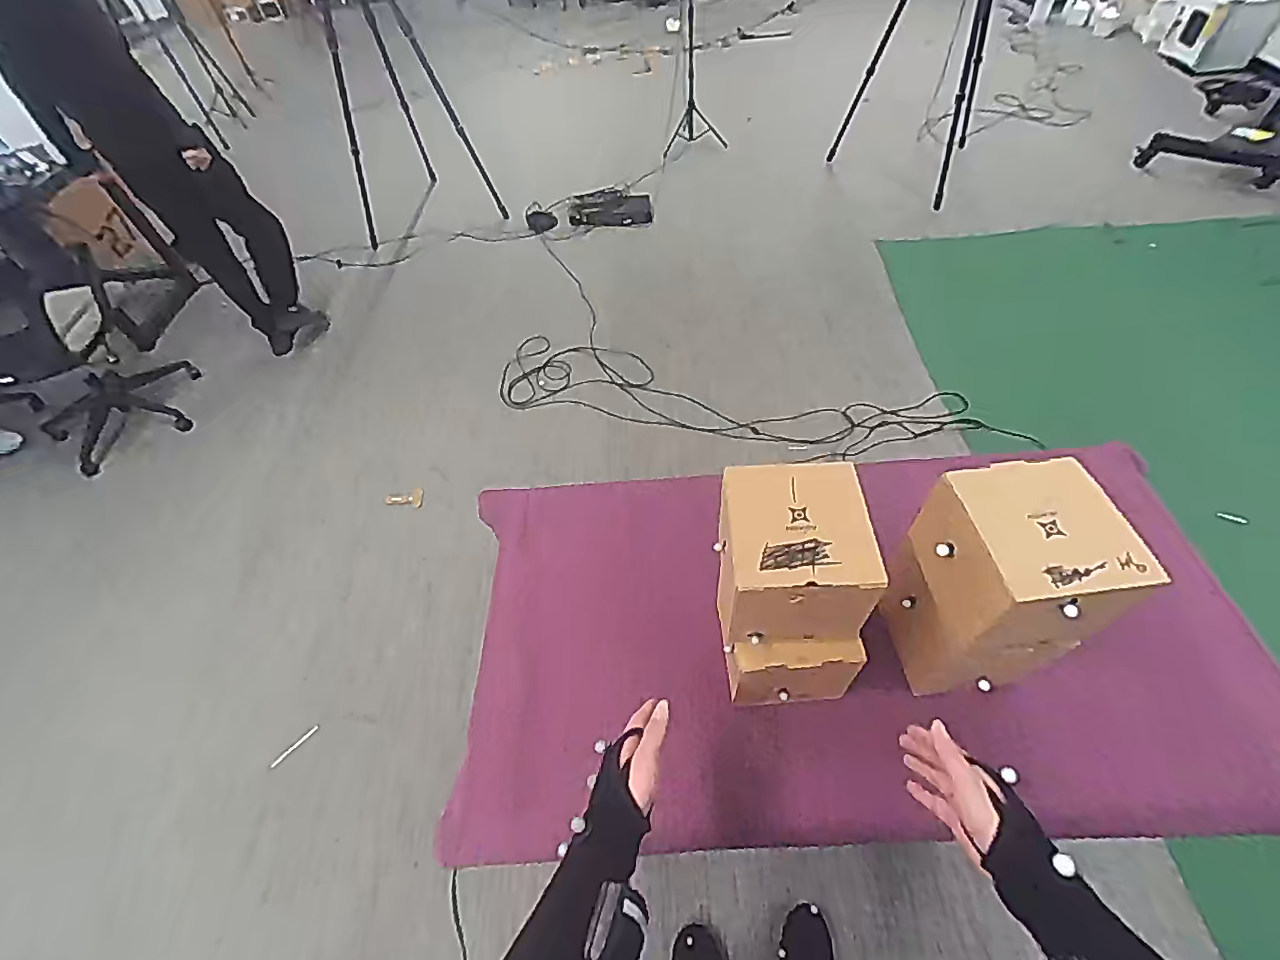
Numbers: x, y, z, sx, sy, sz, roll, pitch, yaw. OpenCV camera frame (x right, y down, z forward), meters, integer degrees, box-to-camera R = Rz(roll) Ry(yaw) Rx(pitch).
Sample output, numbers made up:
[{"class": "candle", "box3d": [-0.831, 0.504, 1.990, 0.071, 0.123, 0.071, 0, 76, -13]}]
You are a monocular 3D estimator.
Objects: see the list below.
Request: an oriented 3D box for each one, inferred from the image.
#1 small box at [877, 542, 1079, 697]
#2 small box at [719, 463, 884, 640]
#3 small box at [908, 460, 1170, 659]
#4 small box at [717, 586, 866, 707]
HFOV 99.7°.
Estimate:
[{"class": "small box", "box3d": [0.475, 0.201, 0.798, 0.168, 0.176, 0.179, -6, 52, 1]}, {"class": "small box", "box3d": [0.191, 0.098, 0.700, 0.168, 0.176, 0.179, -2, 52, 4]}, {"class": "small box", "box3d": [0.463, 0.100, 0.670, 0.168, 0.176, 0.179, -7, 51, 0]}, {"class": "small box", "box3d": [0.211, 0.223, 0.810, 0.168, 0.176, 0.179, -5, 53, 1]}]
